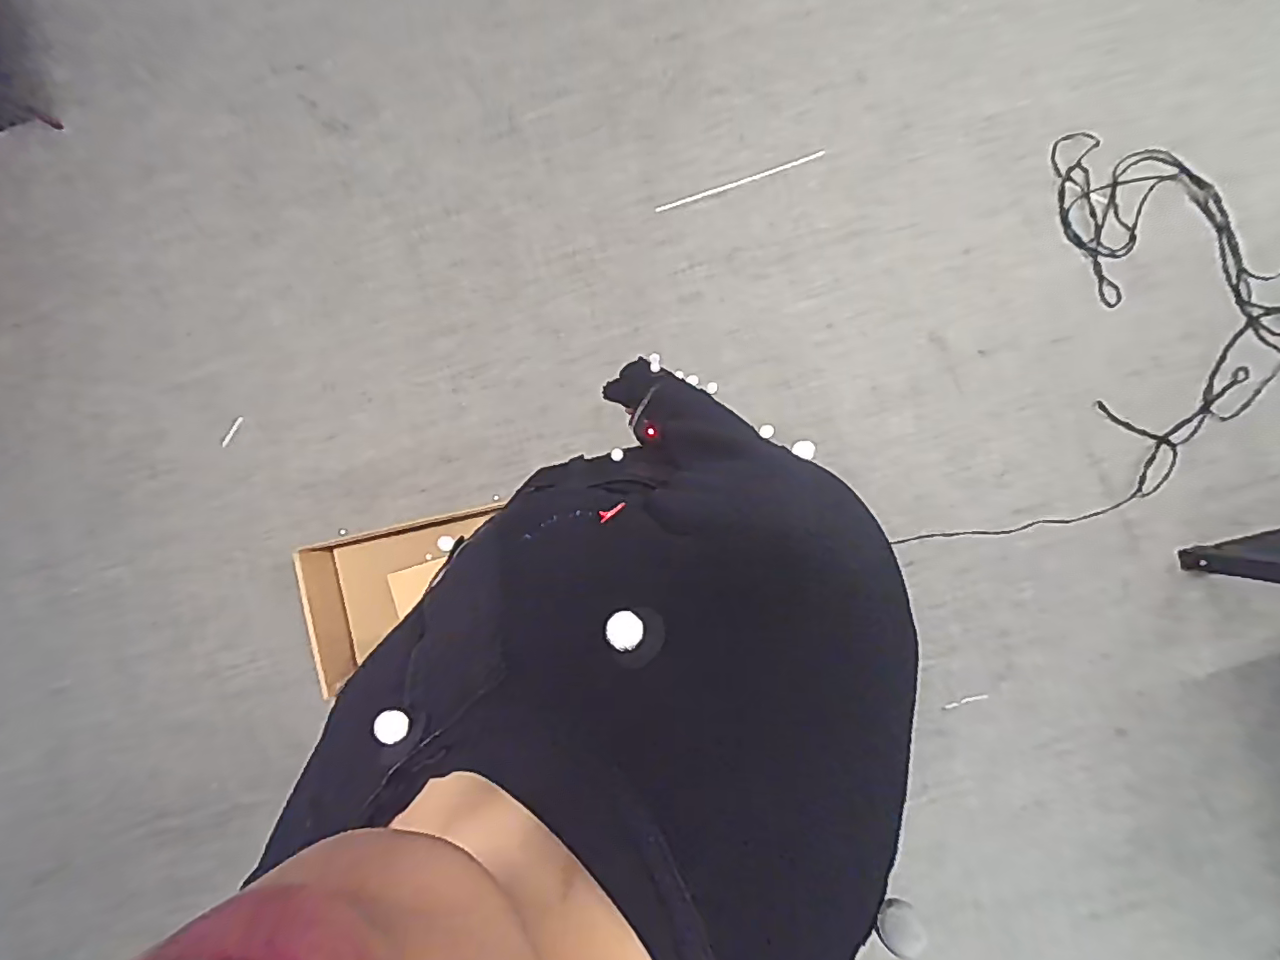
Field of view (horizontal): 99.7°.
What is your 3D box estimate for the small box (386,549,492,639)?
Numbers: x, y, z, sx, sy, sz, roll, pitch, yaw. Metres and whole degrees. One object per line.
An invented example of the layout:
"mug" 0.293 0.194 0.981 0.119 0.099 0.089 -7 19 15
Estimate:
"small box" -0.496 0.280 1.357 0.179 0.176 0.168 -17 89 1
